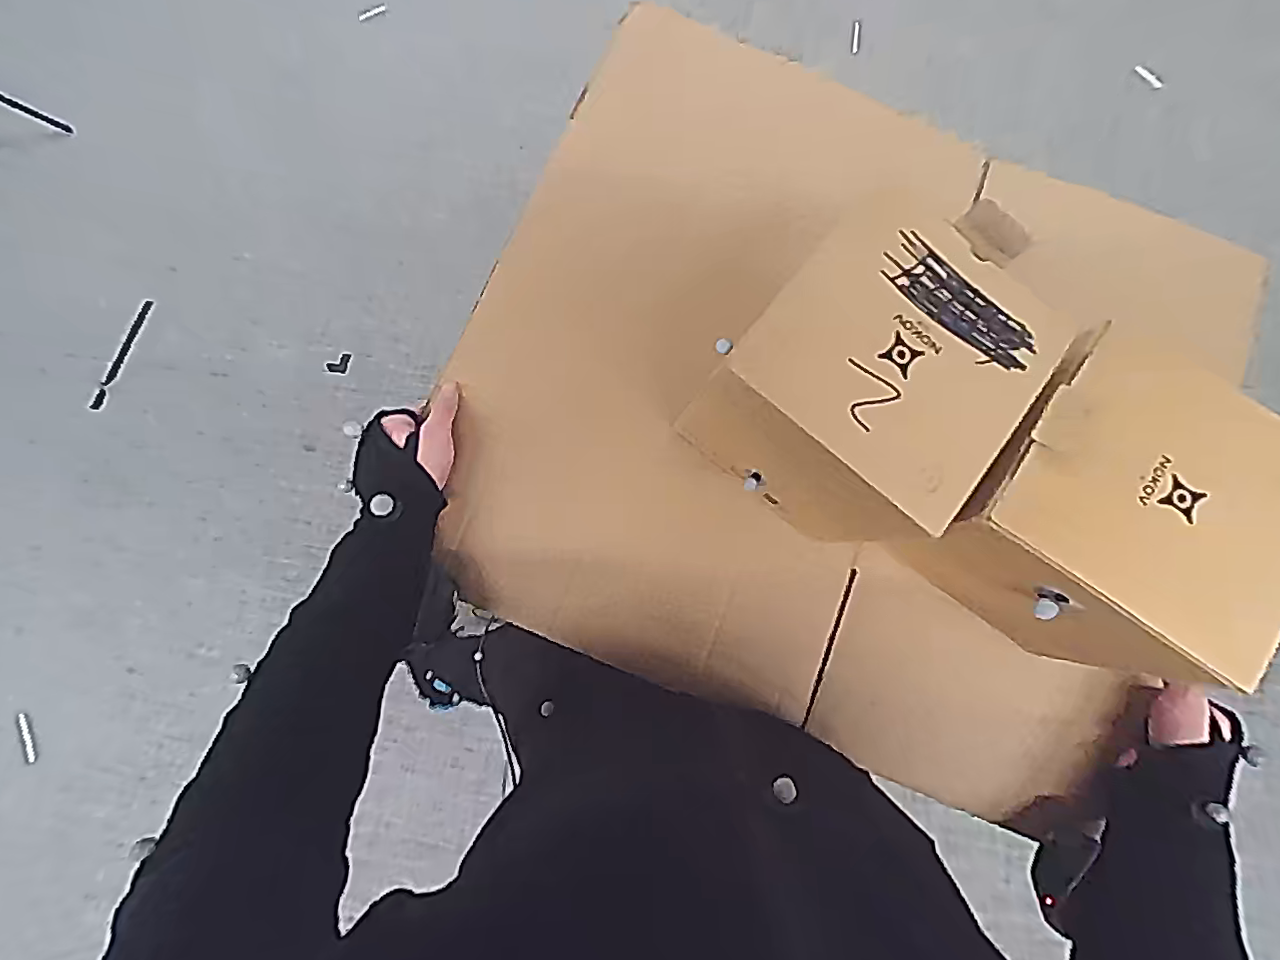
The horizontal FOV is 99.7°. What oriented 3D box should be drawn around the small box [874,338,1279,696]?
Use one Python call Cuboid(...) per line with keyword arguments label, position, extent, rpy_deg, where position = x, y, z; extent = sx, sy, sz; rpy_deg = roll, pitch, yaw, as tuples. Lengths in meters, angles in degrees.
Cuboid(label="small box", position=(0.324, 0.030, 0.419), extent=(0.179, 0.176, 0.168), rpy_deg=(35, 81, 7))
